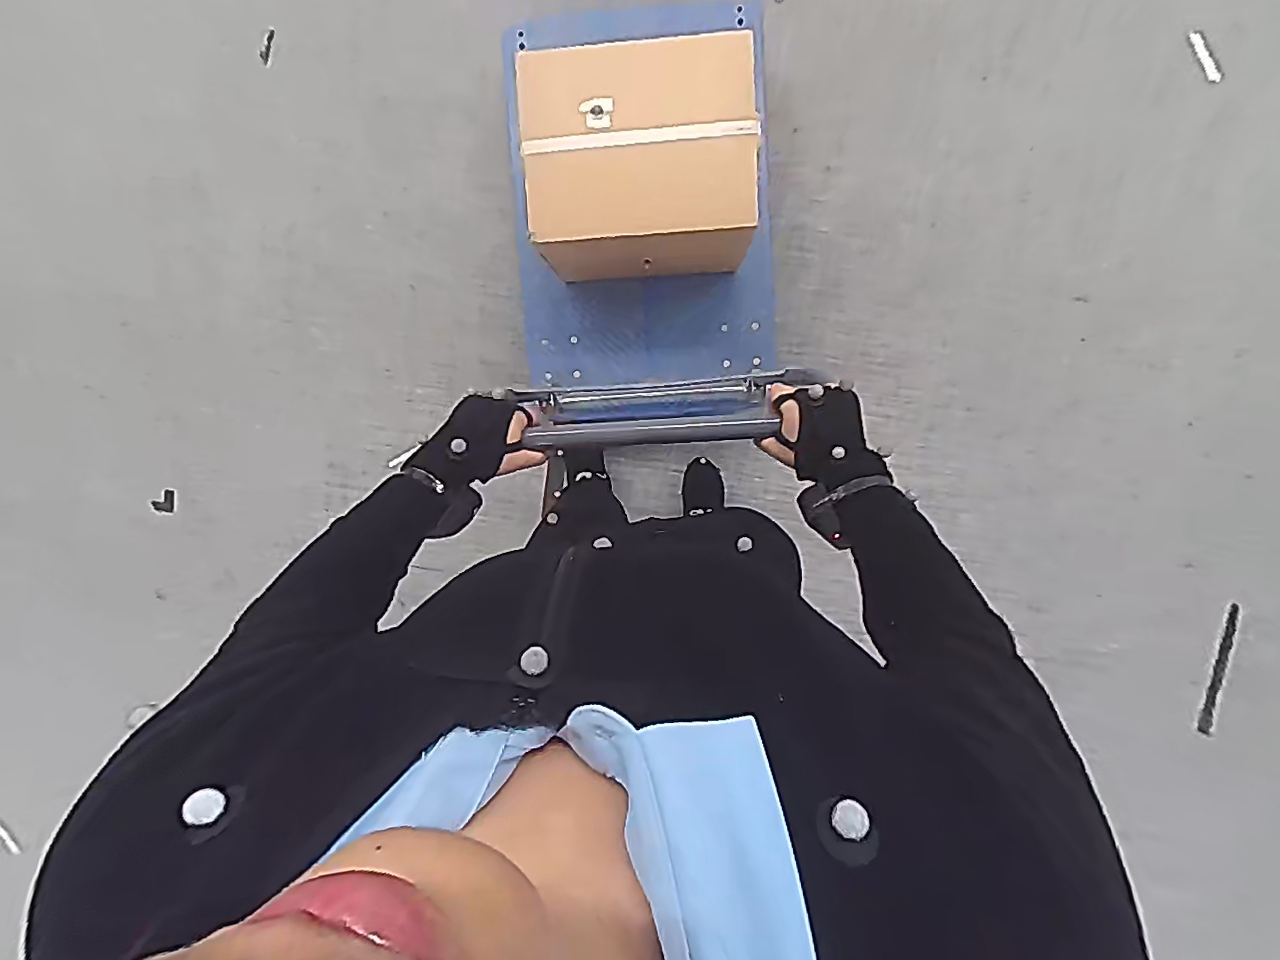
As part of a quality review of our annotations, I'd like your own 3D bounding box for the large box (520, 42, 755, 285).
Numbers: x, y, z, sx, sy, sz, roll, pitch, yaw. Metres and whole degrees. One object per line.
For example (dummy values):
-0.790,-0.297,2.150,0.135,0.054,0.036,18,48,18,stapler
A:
0.007,-0.601,1.098,0.408,0.320,0.320,-3,96,4,large box
